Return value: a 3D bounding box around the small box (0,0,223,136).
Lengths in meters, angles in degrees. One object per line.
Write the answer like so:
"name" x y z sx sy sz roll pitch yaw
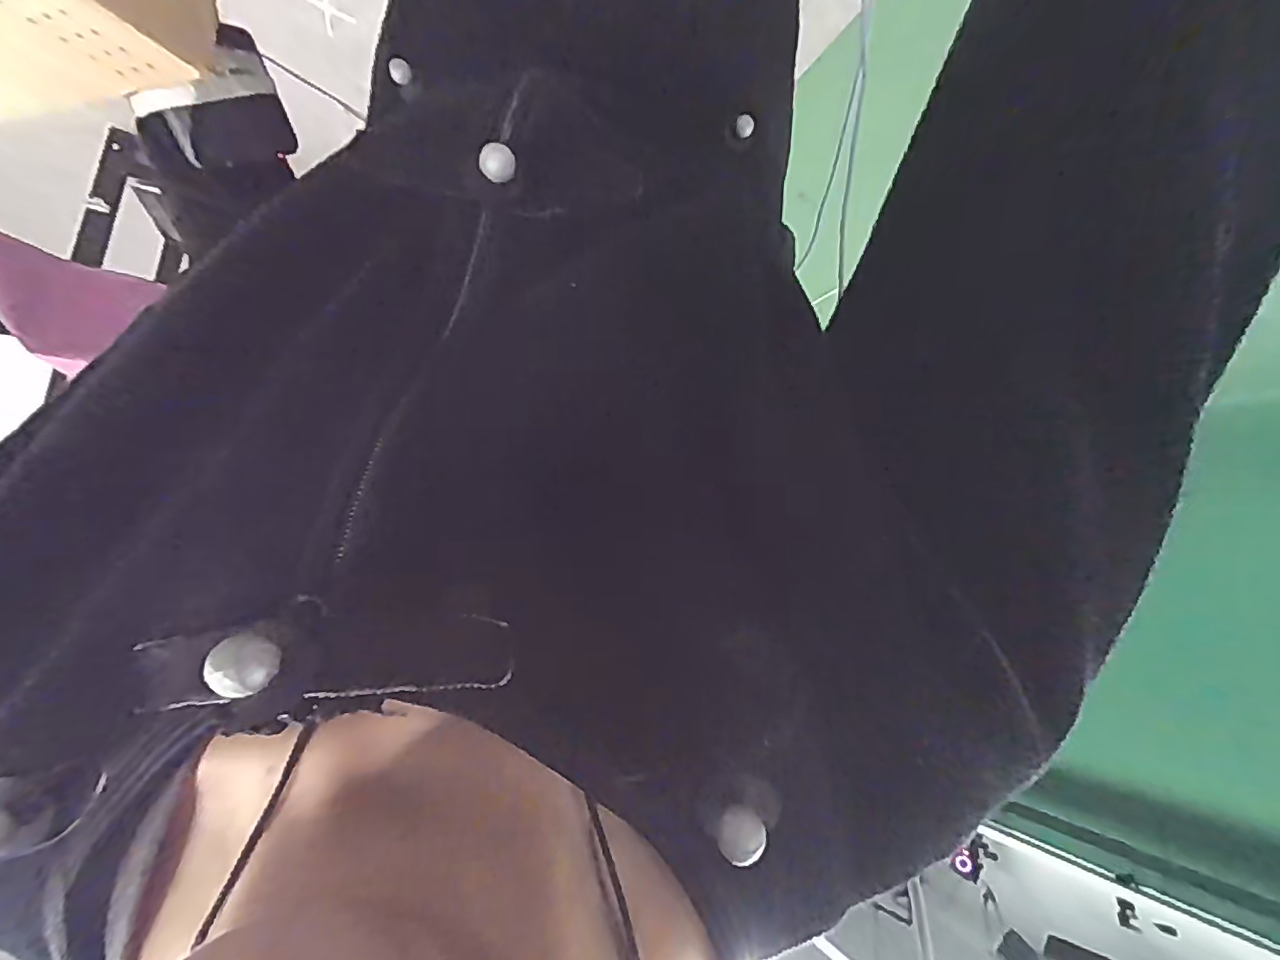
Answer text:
"small box" -0.227 -0.207 0.113 0.176 0.179 0.168 2 -178 16
